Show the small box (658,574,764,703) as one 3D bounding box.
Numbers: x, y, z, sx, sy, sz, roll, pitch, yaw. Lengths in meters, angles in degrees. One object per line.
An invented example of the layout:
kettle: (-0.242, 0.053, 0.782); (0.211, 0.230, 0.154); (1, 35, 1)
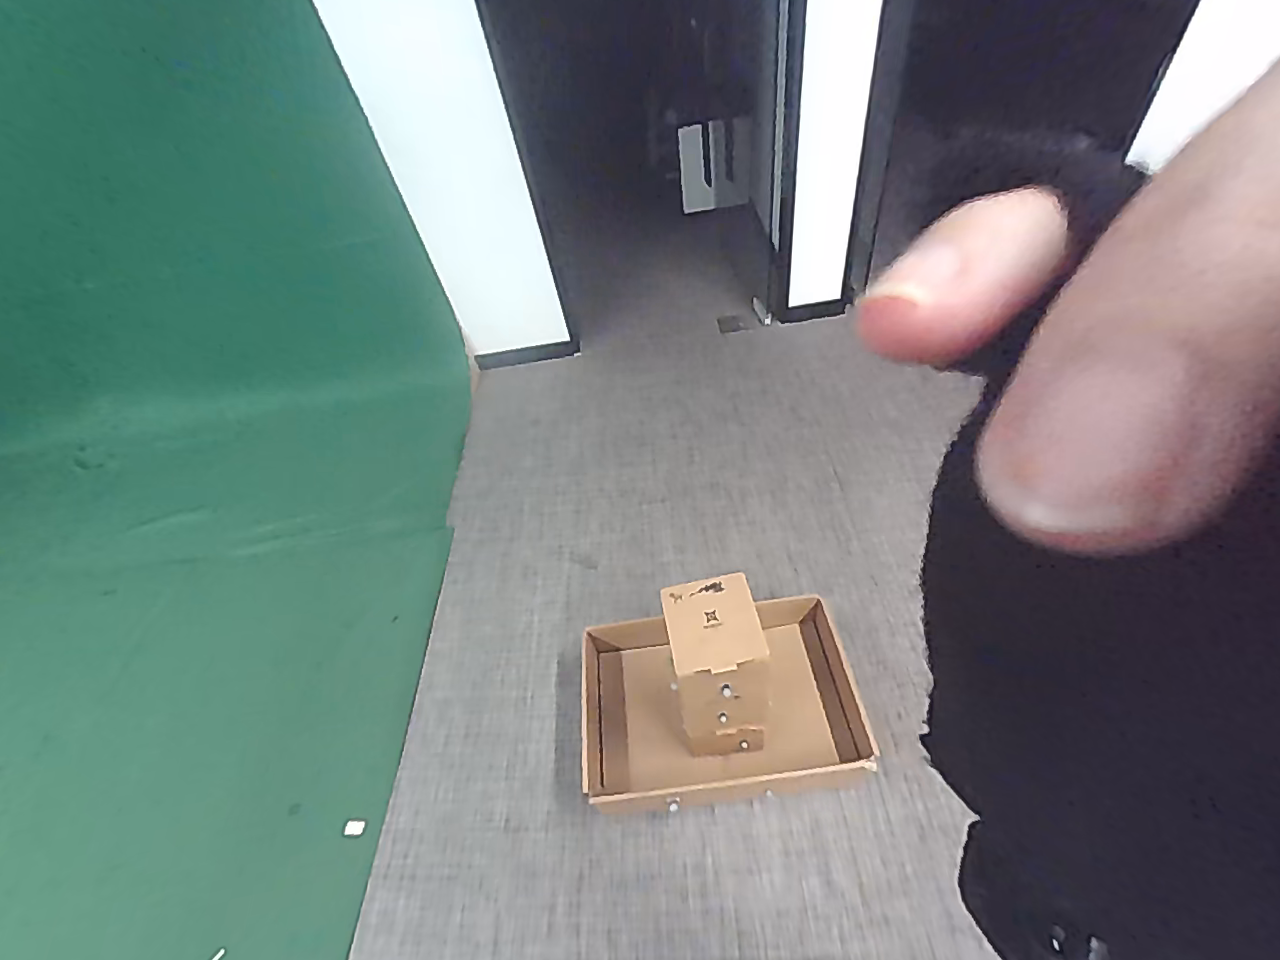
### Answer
small box: (0.135, 0.310, 1.034); (0.168, 0.176, 0.179); (-11, 48, 1)

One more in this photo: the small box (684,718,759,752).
small box: (0.184, 0.525, 1.275); (0.168, 0.176, 0.179); (-8, 46, 4)

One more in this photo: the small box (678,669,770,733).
small box: (0.163, 0.419, 1.152); (0.179, 0.176, 0.168); (-11, 48, -1)
